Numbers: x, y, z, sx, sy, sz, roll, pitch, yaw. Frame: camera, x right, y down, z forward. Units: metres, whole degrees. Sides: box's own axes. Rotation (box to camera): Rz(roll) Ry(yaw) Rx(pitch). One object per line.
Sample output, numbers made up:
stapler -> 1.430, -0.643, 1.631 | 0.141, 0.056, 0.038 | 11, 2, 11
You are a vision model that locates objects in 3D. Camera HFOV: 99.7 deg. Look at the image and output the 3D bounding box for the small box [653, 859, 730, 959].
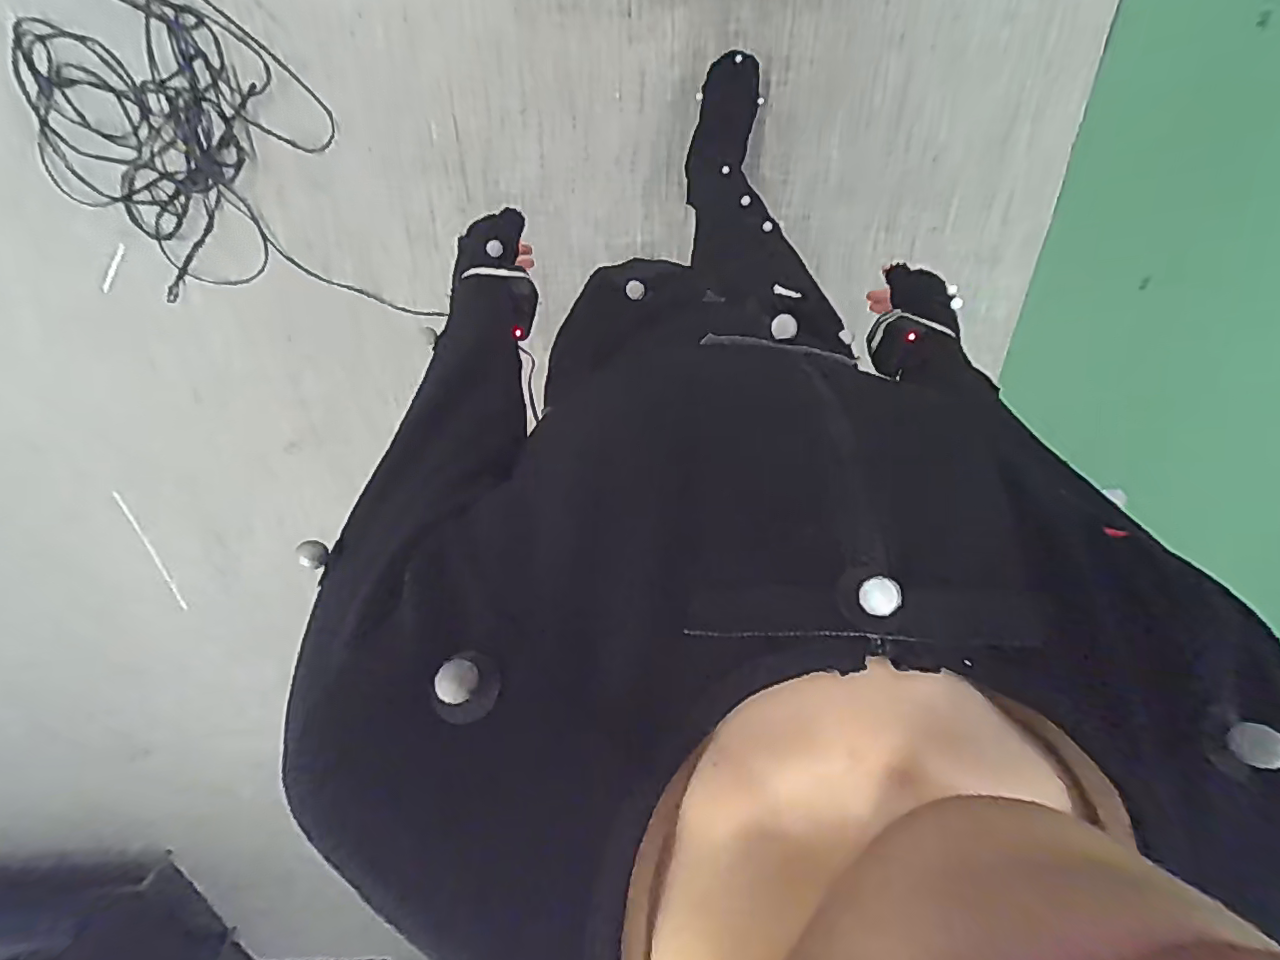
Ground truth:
small box -> 0.118, 1.020, 1.268 | 0.168, 0.176, 0.179 | -4, 121, 3
